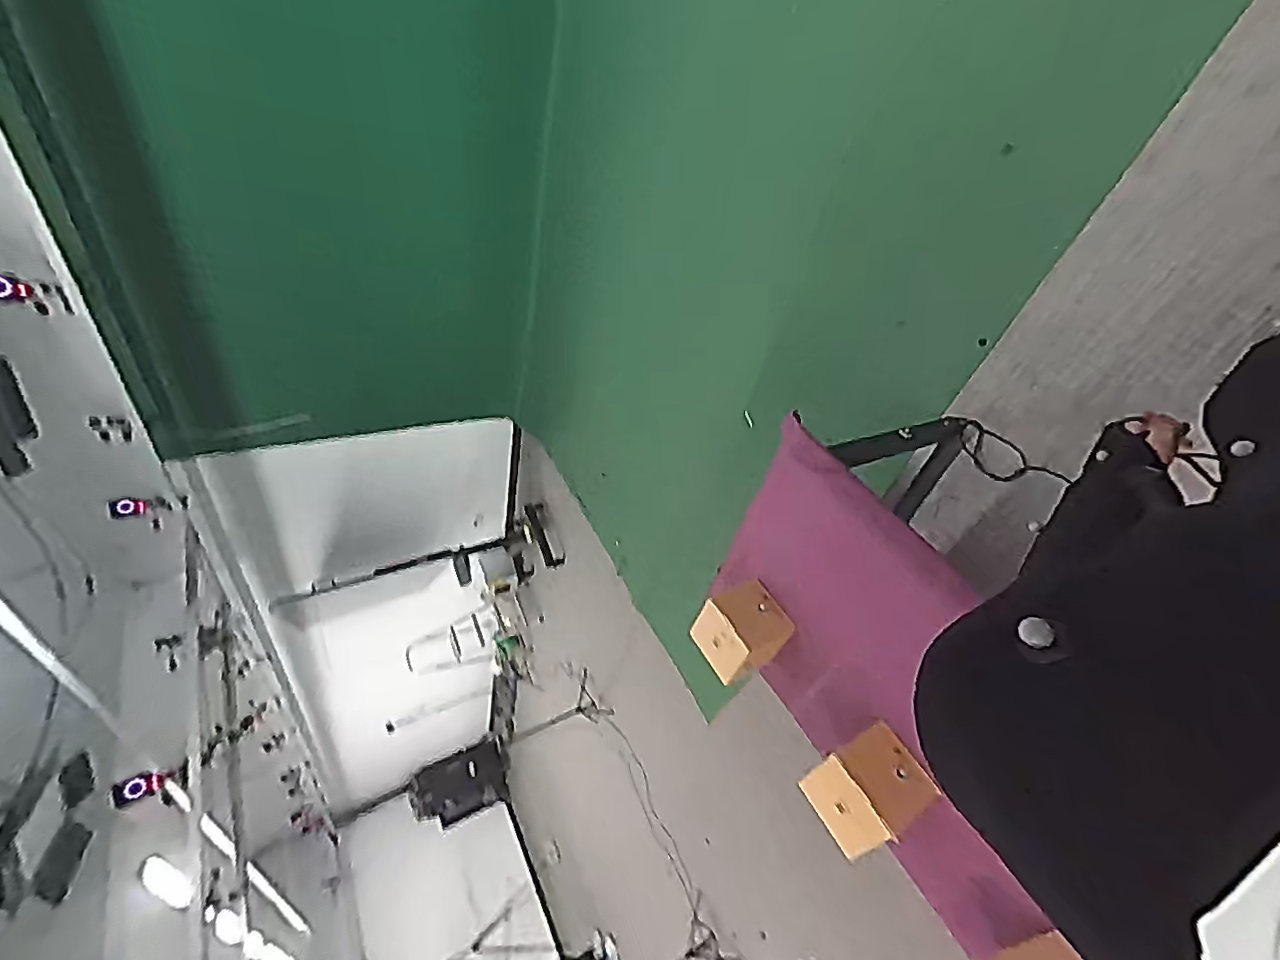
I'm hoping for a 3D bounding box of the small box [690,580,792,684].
[{"bbox_3d":[0.264,0.393,1.411,0.168,0.176,0.179,51,141,32],"label":"small box"}]

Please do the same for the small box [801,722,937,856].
[{"bbox_3d":[0.487,0.655,1.155,0.168,0.176,0.179,53,141,35],"label":"small box"}]
